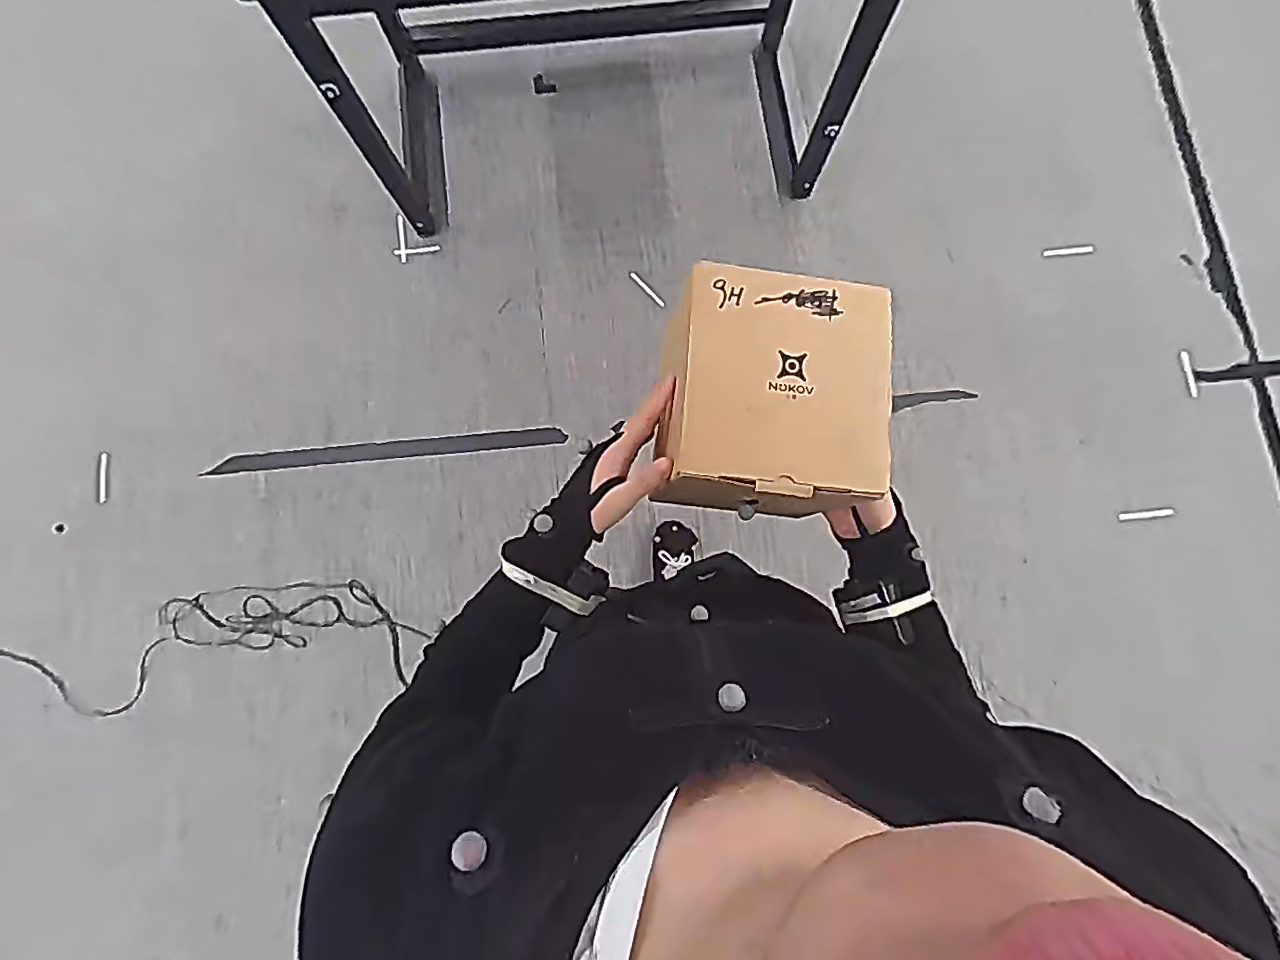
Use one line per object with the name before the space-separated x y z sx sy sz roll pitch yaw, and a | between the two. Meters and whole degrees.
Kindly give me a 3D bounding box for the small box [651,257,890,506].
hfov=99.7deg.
small box | 0.107 -0.073 0.503 0.168 0.176 0.179 6 81 -7
